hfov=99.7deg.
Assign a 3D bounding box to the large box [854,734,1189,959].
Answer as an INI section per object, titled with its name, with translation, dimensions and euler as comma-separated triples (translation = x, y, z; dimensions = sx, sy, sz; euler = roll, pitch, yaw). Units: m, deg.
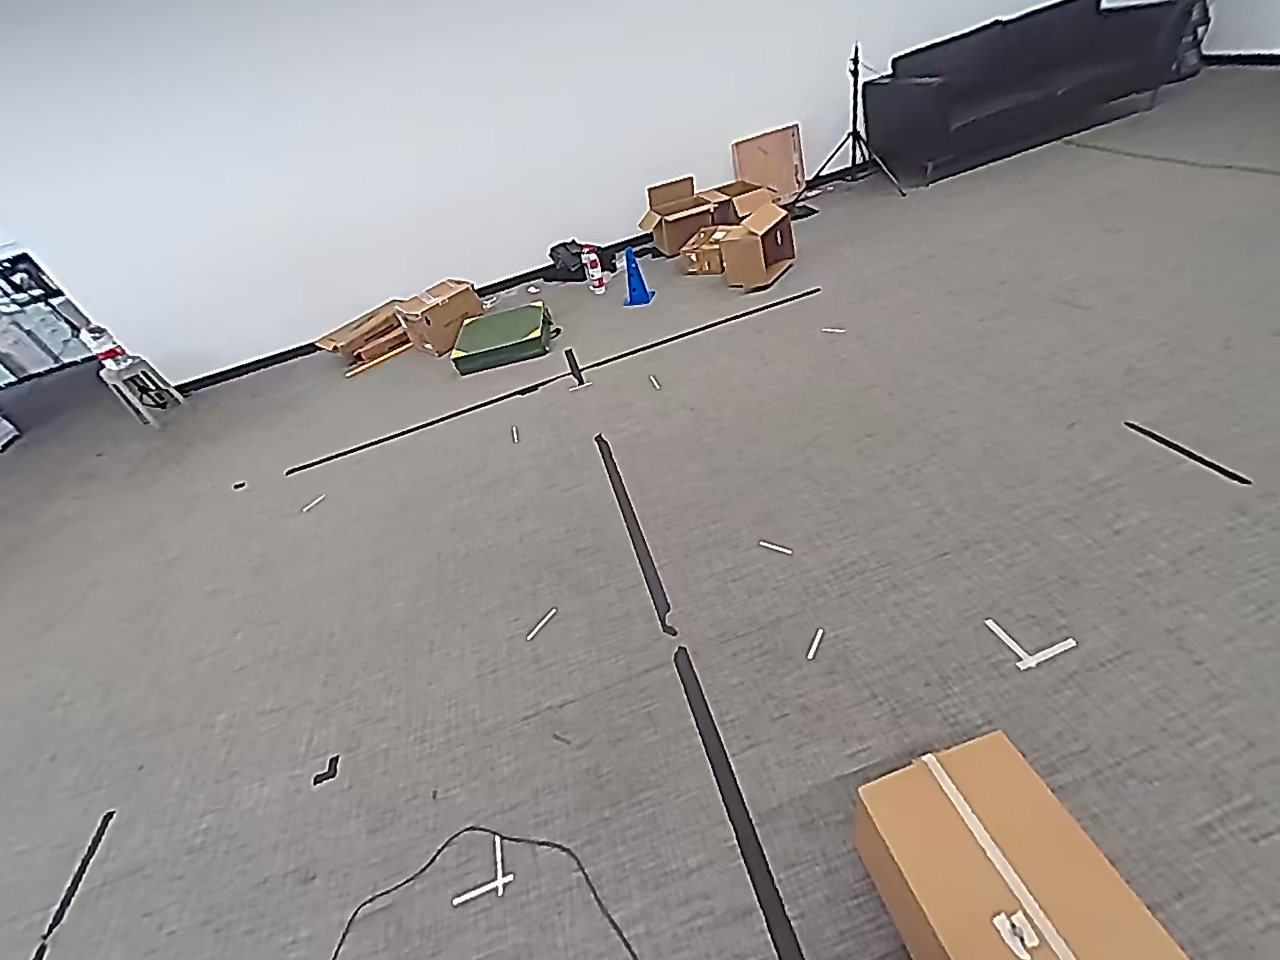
[large box]
translation = 0.647, 0.770, 0.994
dimensions = 0.320, 0.320, 0.408
euler = -20, 40, -4
